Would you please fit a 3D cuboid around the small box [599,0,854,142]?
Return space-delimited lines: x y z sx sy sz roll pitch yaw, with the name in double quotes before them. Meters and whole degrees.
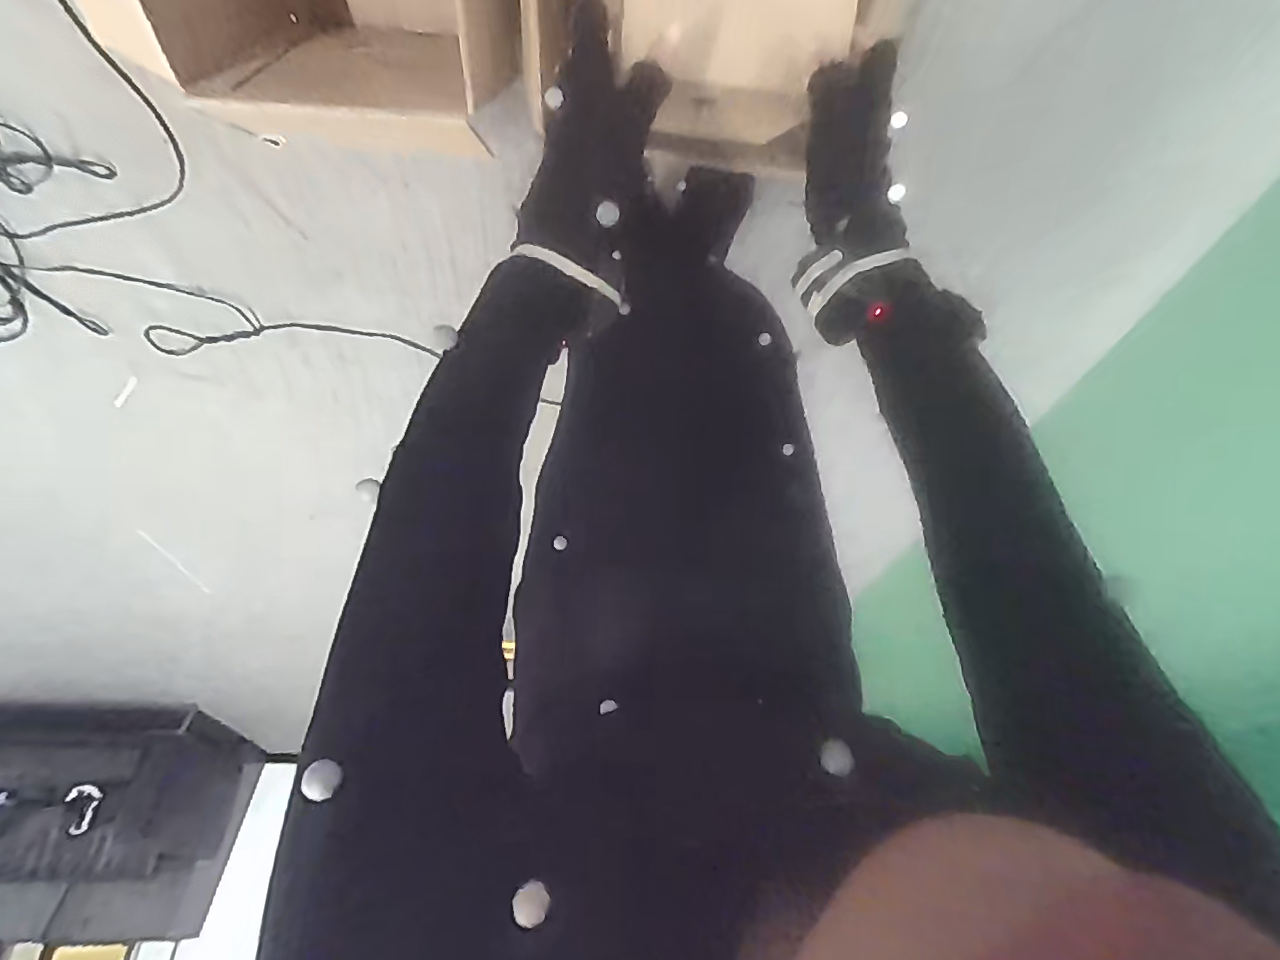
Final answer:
"small box" 0.059 -0.393 0.445 0.179 0.176 0.168 0 112 -10
